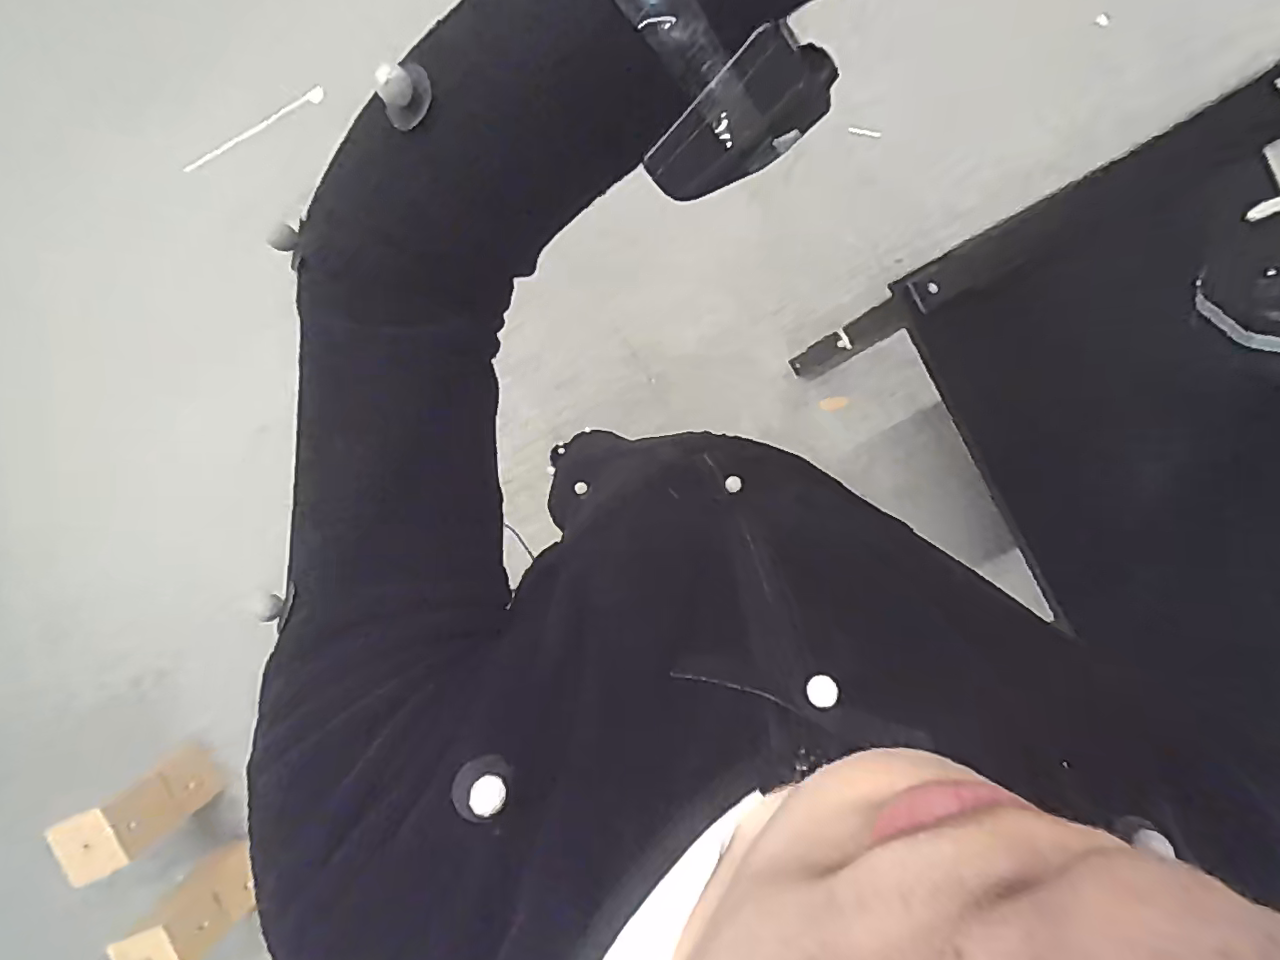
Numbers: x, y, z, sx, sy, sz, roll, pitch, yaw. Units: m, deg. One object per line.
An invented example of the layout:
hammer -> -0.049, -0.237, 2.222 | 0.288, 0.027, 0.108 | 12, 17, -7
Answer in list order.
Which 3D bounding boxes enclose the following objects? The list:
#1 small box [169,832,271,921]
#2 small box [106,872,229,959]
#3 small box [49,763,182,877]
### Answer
small box -> -1.280, 1.227, 1.657 | 0.179, 0.176, 0.168 | -23, 93, 4
small box -> -1.288, 1.235, 1.492 | 0.179, 0.176, 0.168 | -21, 92, 3
small box -> -1.418, 0.920, 1.476 | 0.168, 0.176, 0.179 | -24, 92, 3
